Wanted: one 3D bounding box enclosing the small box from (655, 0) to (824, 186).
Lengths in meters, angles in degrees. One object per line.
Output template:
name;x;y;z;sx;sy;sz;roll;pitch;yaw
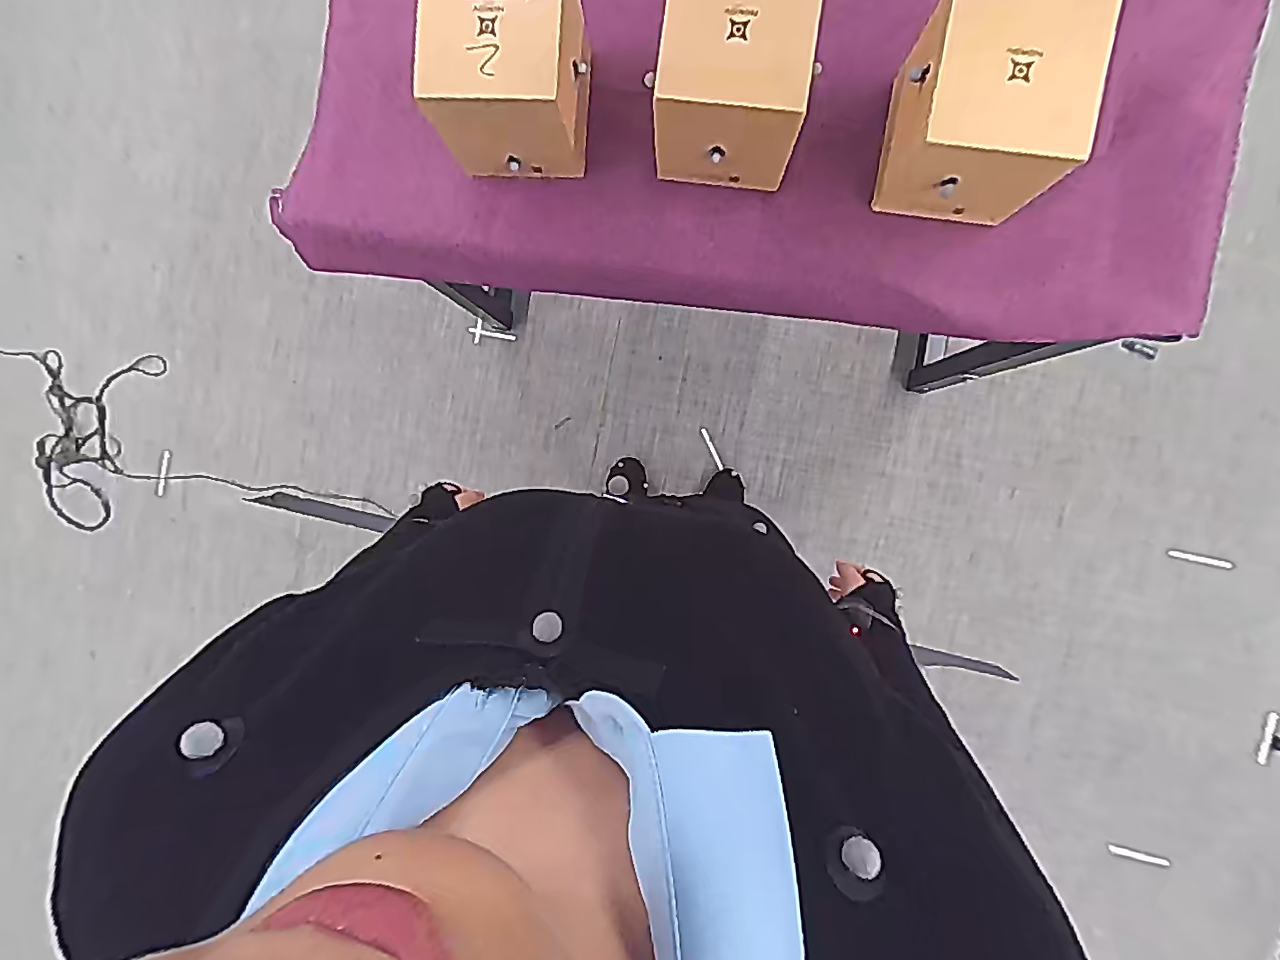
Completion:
small box;0.115;-0.489;0.656;0.168;0.176;0.179;9;91;3

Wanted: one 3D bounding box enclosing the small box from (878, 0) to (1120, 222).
small box;0.400;-0.430;0.638;0.168;0.176;0.179;10;93;4
